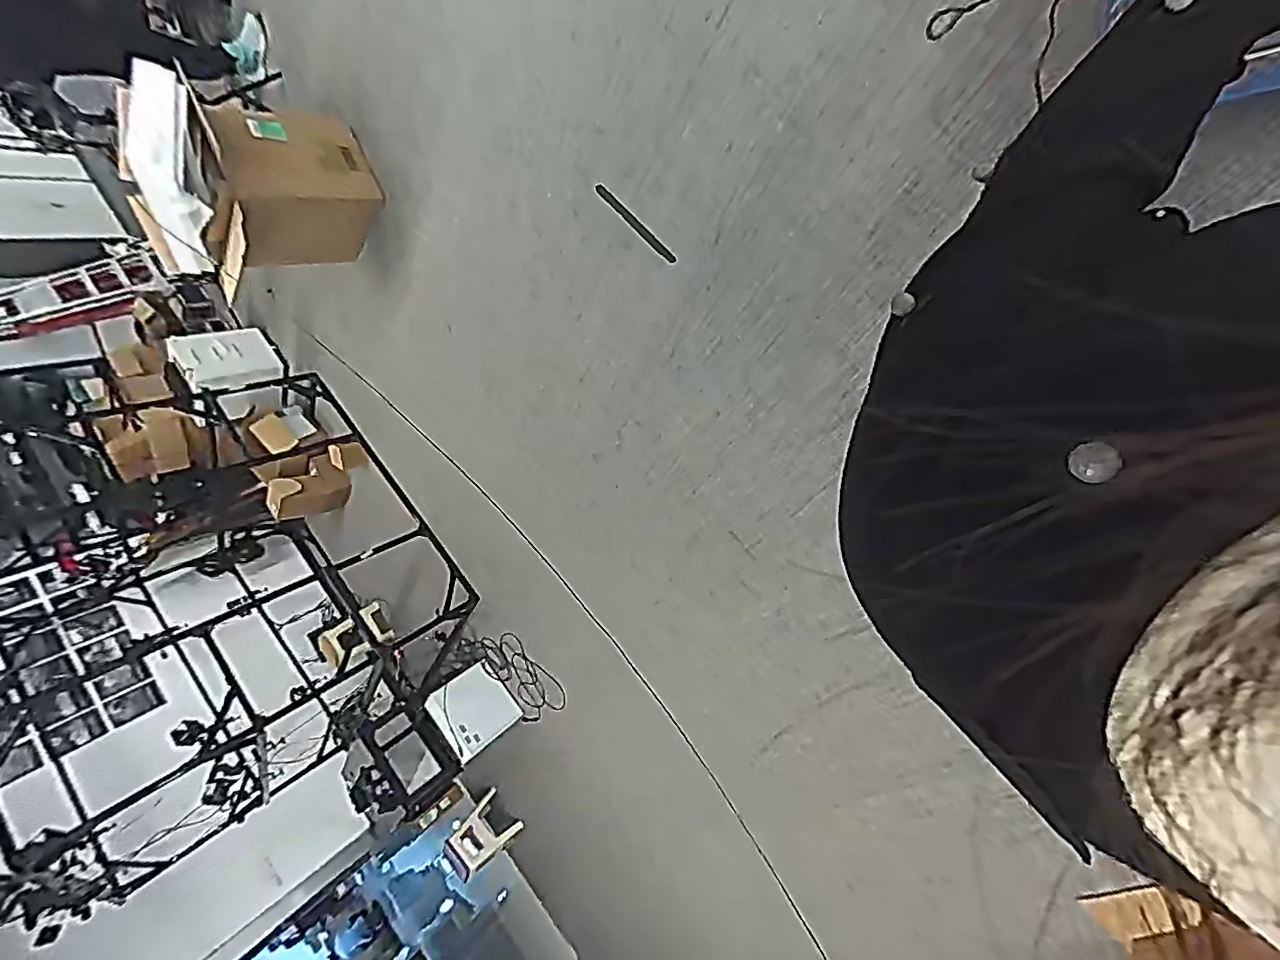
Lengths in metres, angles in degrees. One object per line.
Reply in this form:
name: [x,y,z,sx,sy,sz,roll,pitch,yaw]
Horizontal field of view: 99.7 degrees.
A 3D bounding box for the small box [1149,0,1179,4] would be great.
small box: [0.772,-0.758,0.693,0.168,0.176,0.179,4,112,39]
